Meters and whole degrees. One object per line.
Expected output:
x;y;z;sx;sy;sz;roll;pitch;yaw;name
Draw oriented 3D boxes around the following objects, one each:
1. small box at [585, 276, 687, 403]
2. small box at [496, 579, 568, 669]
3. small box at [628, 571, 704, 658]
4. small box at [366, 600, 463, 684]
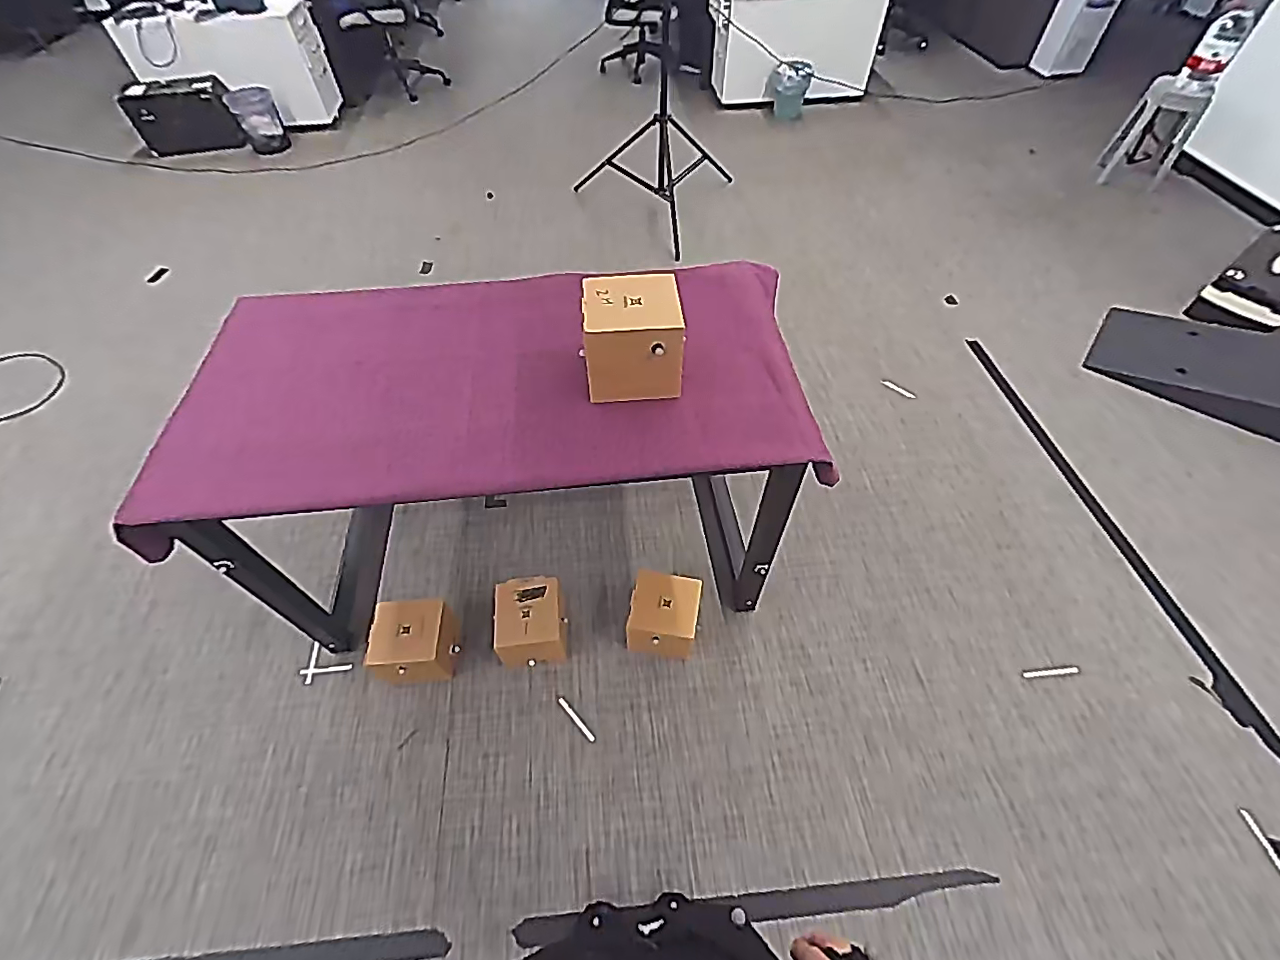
-0.011;-0.263;1.027;0.179;0.176;0.168;-4;52;-1;small box
-0.285;0.389;1.454;0.168;0.176;0.179;-6;54;-3;small box
0.071;0.370;1.465;0.179;0.176;0.168;8;54;8;small box
-0.587;0.432;1.429;0.179;0.176;0.168;-3;54;-2;small box
